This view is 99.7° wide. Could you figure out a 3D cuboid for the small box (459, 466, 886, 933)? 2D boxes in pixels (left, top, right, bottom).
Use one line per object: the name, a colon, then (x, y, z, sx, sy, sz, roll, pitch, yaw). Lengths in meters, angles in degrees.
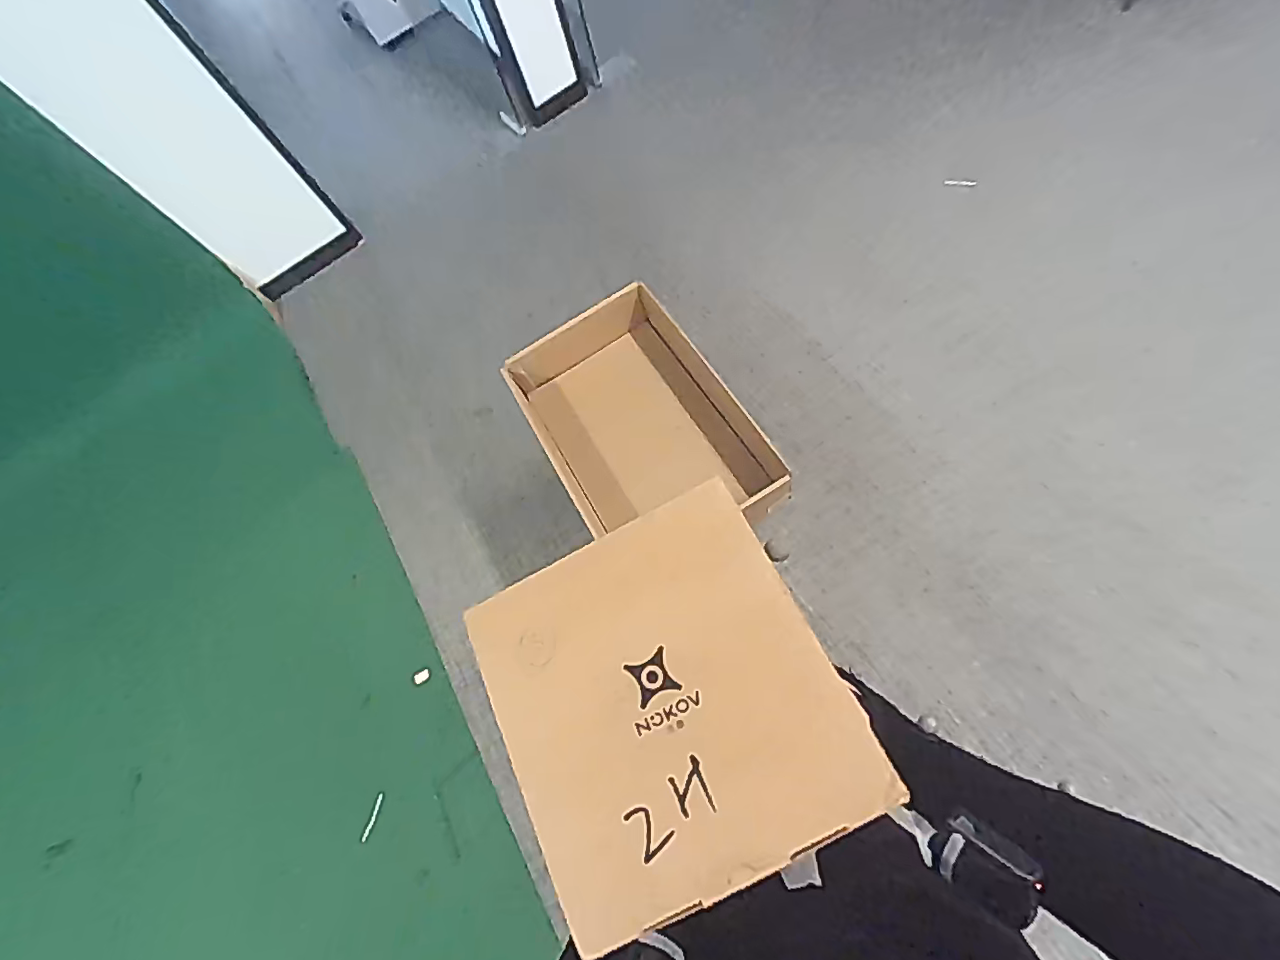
small box: (0.020, 0.124, 0.347, 0.168, 0.176, 0.179, -29, 68, 3)
